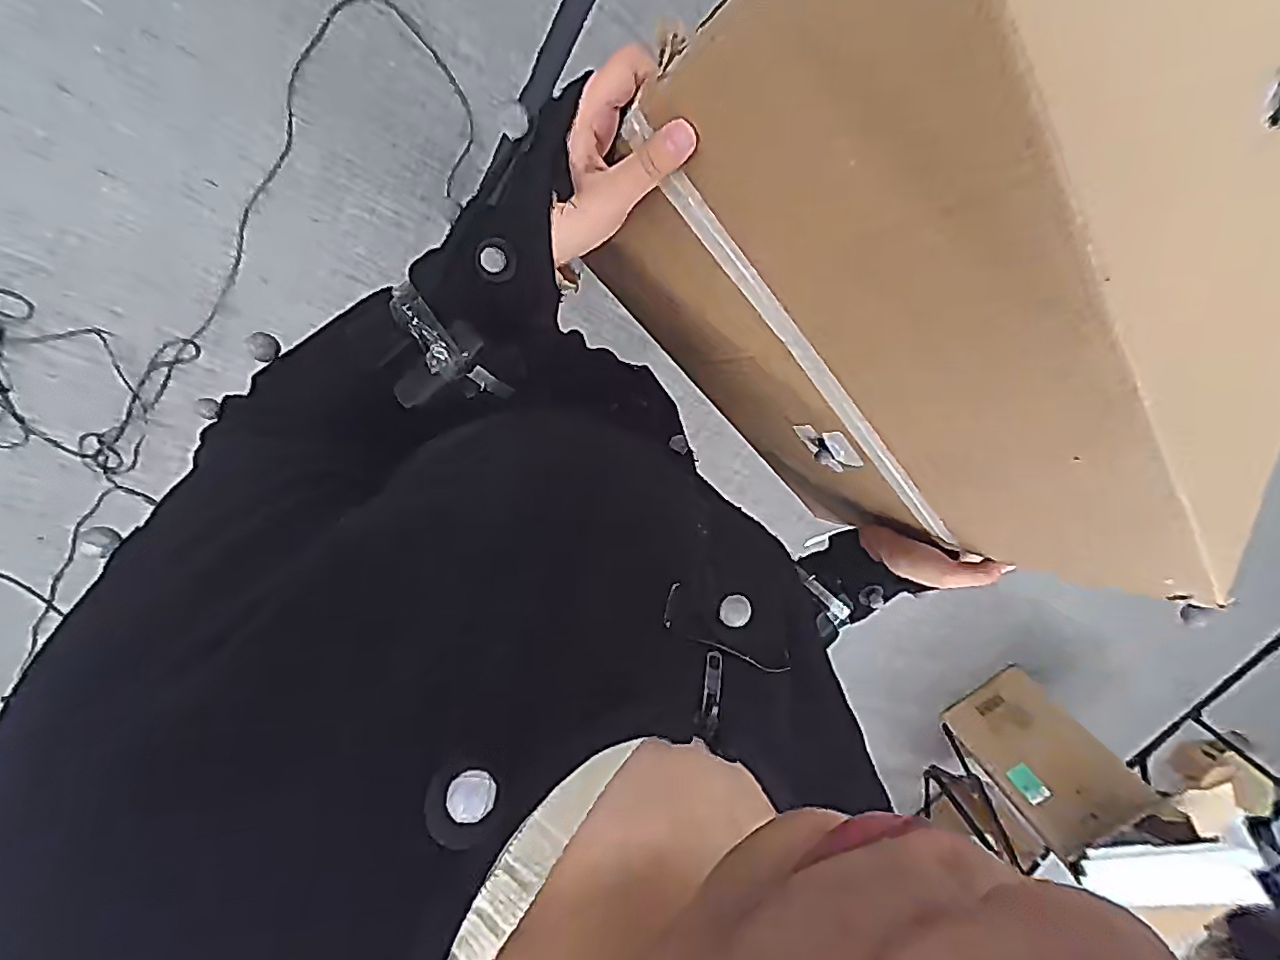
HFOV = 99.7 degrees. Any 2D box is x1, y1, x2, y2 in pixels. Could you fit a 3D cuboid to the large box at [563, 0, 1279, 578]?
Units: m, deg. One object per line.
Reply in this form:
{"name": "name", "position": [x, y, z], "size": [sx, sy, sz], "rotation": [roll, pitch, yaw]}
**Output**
{"name": "large box", "position": [0.232, -0.198, 0.360], "size": [0.408, 0.320, 0.320], "rotation": [41, 78, -27]}
